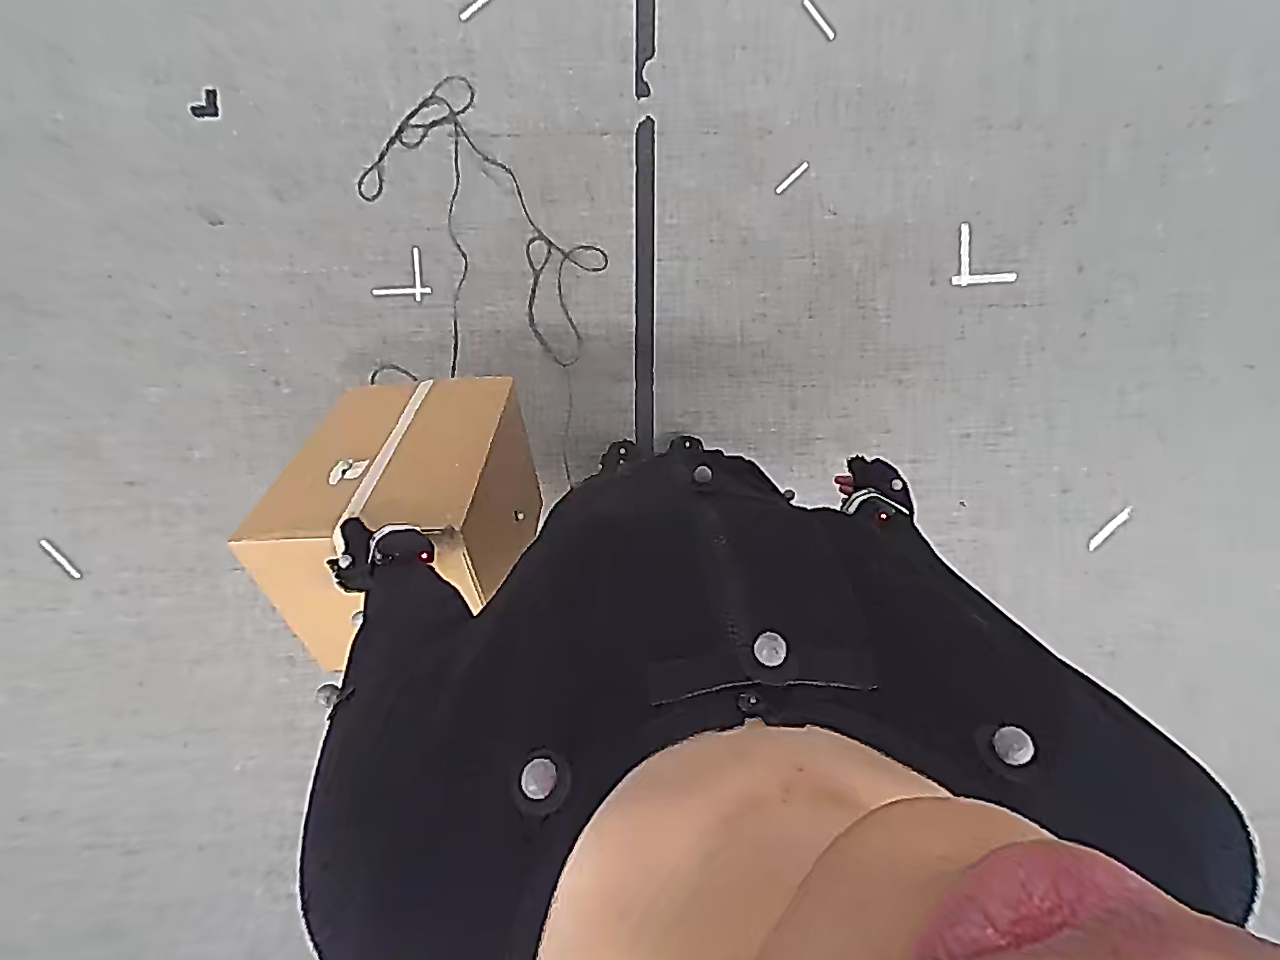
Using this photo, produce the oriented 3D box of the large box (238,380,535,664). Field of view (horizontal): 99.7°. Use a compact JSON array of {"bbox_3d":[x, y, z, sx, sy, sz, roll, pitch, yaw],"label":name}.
[{"bbox_3d":[-0.381,0.062,0.957,0.320,0.408,0.320,-3,131,2],"label":"large box"}]
